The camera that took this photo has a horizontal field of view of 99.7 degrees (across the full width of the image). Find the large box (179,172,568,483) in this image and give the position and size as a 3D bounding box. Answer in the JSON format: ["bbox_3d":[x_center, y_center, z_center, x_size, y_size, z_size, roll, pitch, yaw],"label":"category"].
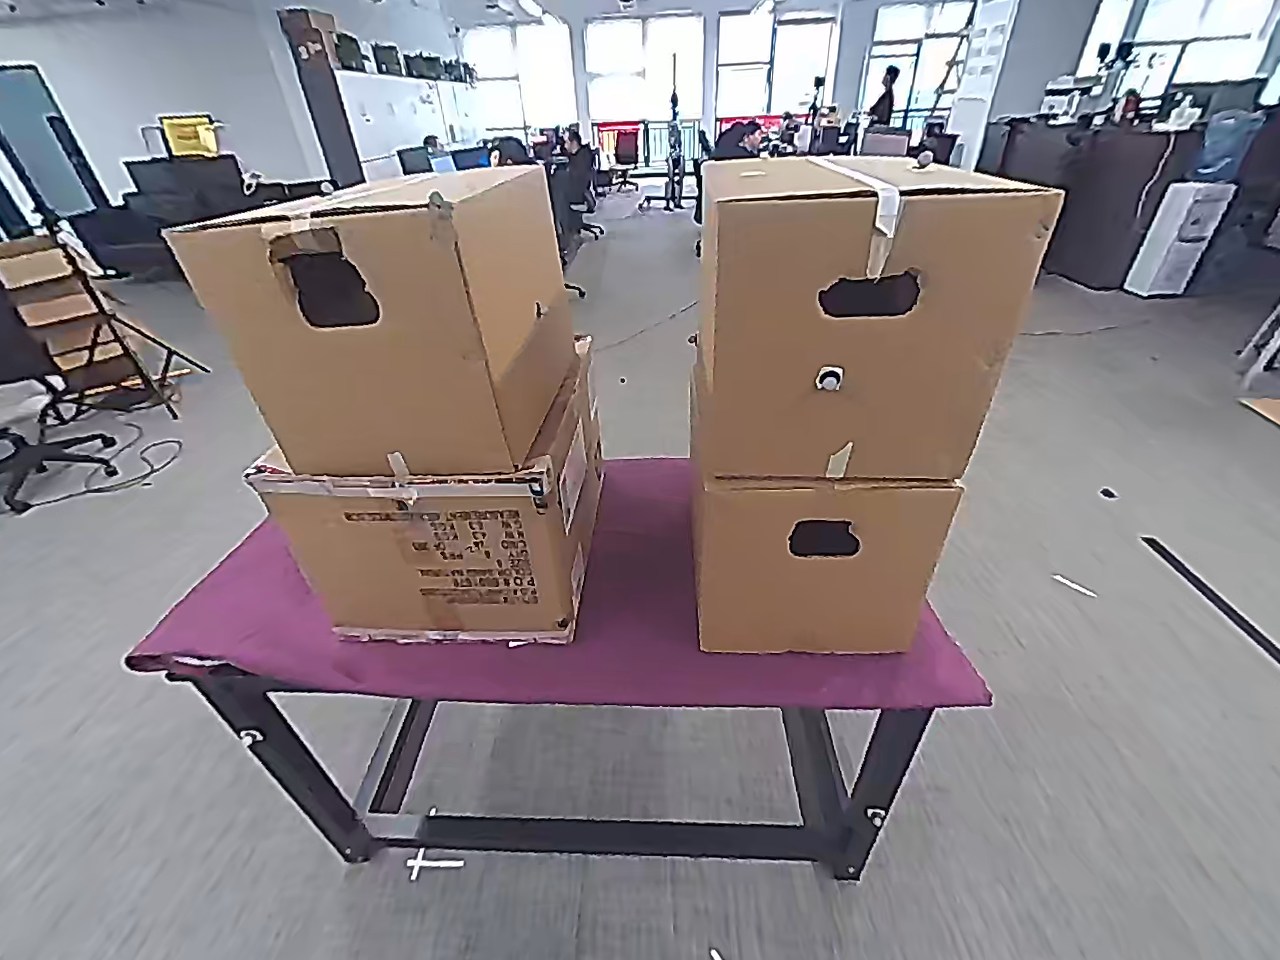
[{"bbox_3d":[-0.304,-0.238,0.786,0.320,0.320,0.408,-3,35,7],"label":"large box"}]
